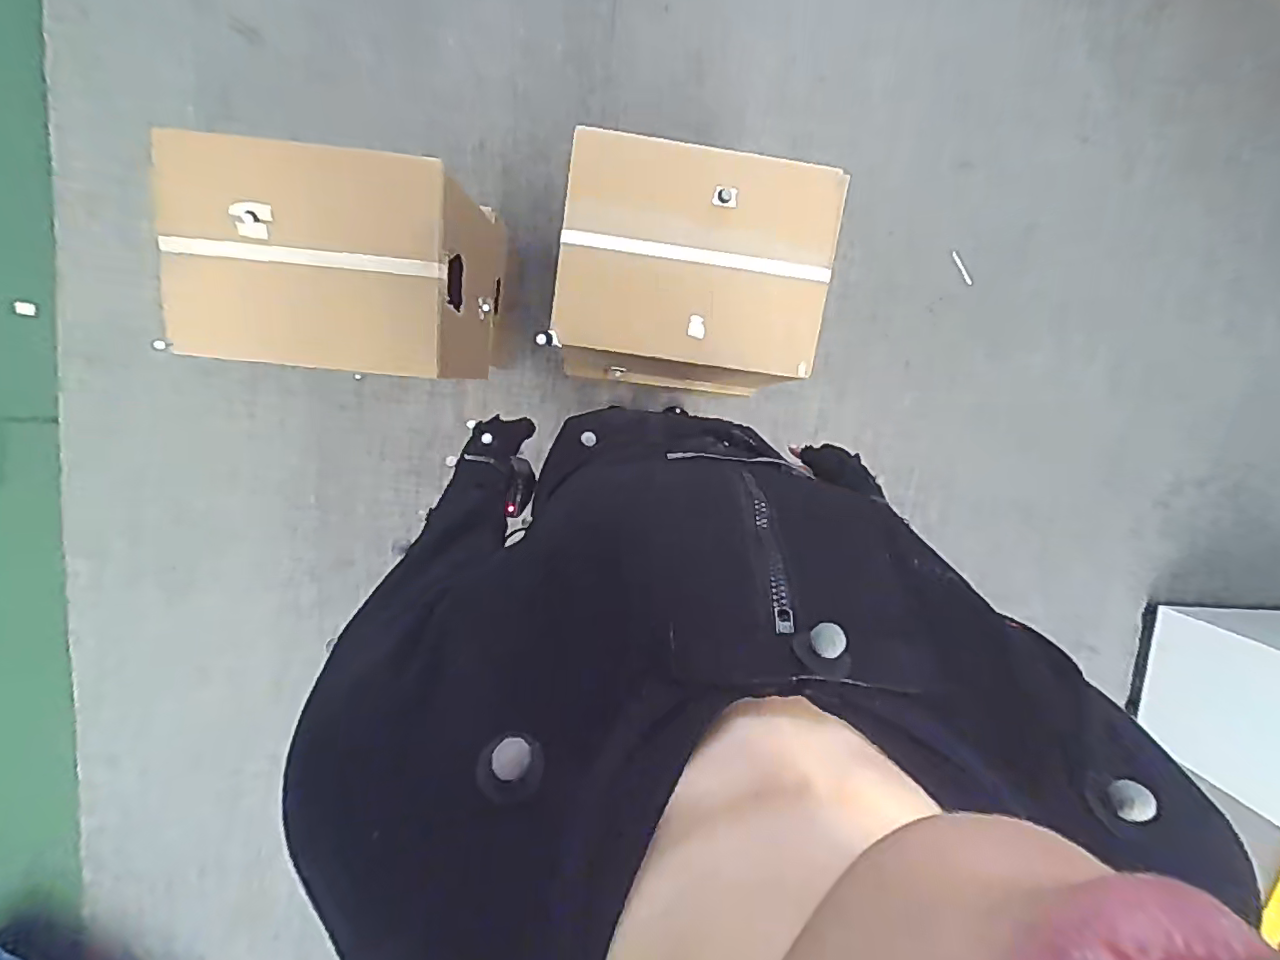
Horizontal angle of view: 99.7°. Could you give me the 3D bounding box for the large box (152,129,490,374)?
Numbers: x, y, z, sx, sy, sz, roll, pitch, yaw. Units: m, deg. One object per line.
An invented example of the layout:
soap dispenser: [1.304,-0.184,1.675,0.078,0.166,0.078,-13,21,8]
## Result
large box: [-0.497,-0.356,0.933,0.408,0.320,0.320,5,100,-2]
